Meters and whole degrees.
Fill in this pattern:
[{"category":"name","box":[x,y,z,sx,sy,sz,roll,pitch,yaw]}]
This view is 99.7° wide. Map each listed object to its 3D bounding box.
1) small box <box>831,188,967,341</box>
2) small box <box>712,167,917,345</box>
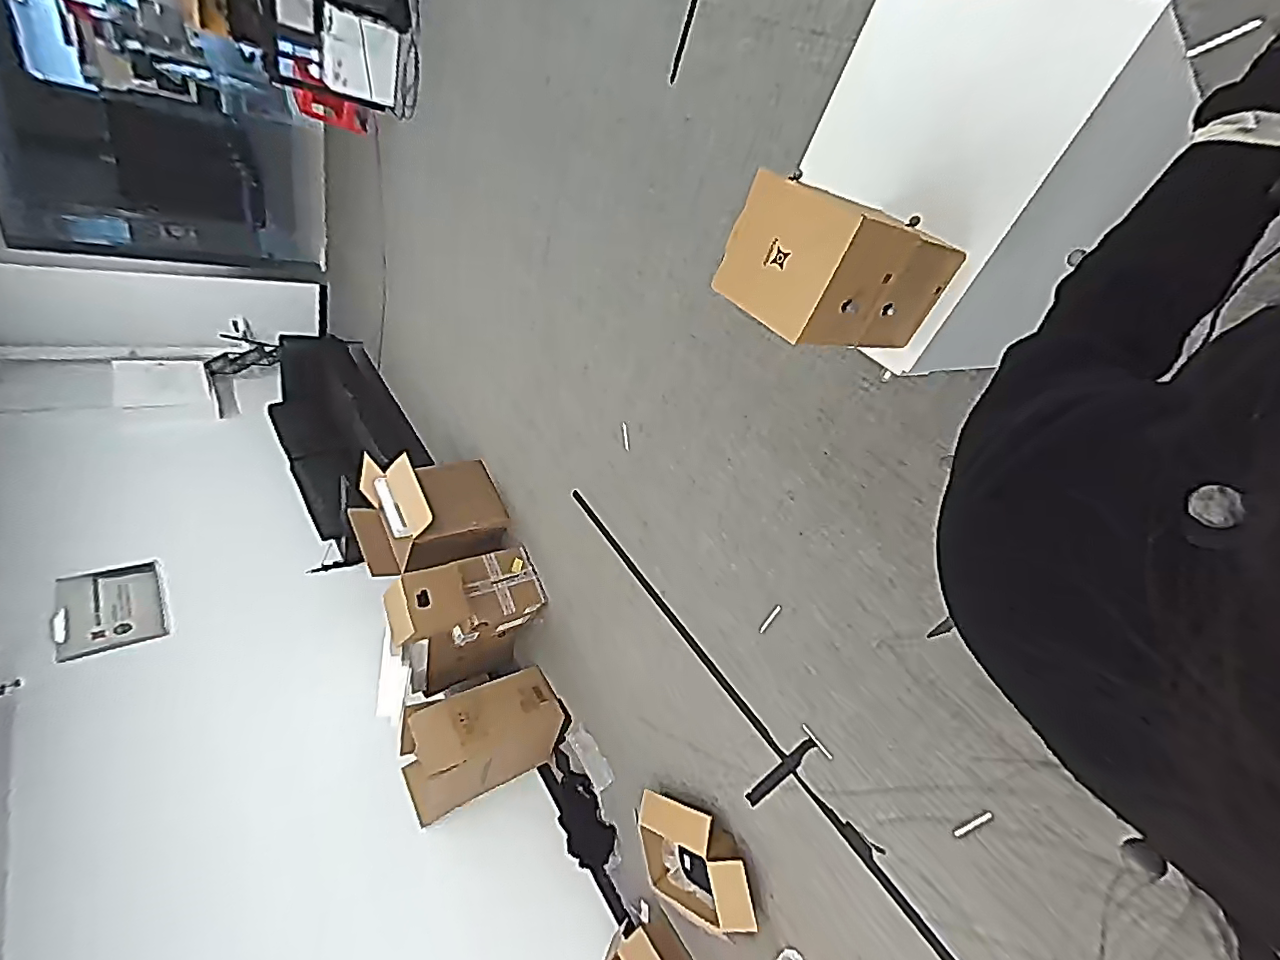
[{"category":"small box","box":[0.363,-0.330,0.852,0.179,0.176,0.168,50,133,32]},{"category":"small box","box":[0.239,-0.304,0.747,0.179,0.176,0.168,48,132,32]}]
